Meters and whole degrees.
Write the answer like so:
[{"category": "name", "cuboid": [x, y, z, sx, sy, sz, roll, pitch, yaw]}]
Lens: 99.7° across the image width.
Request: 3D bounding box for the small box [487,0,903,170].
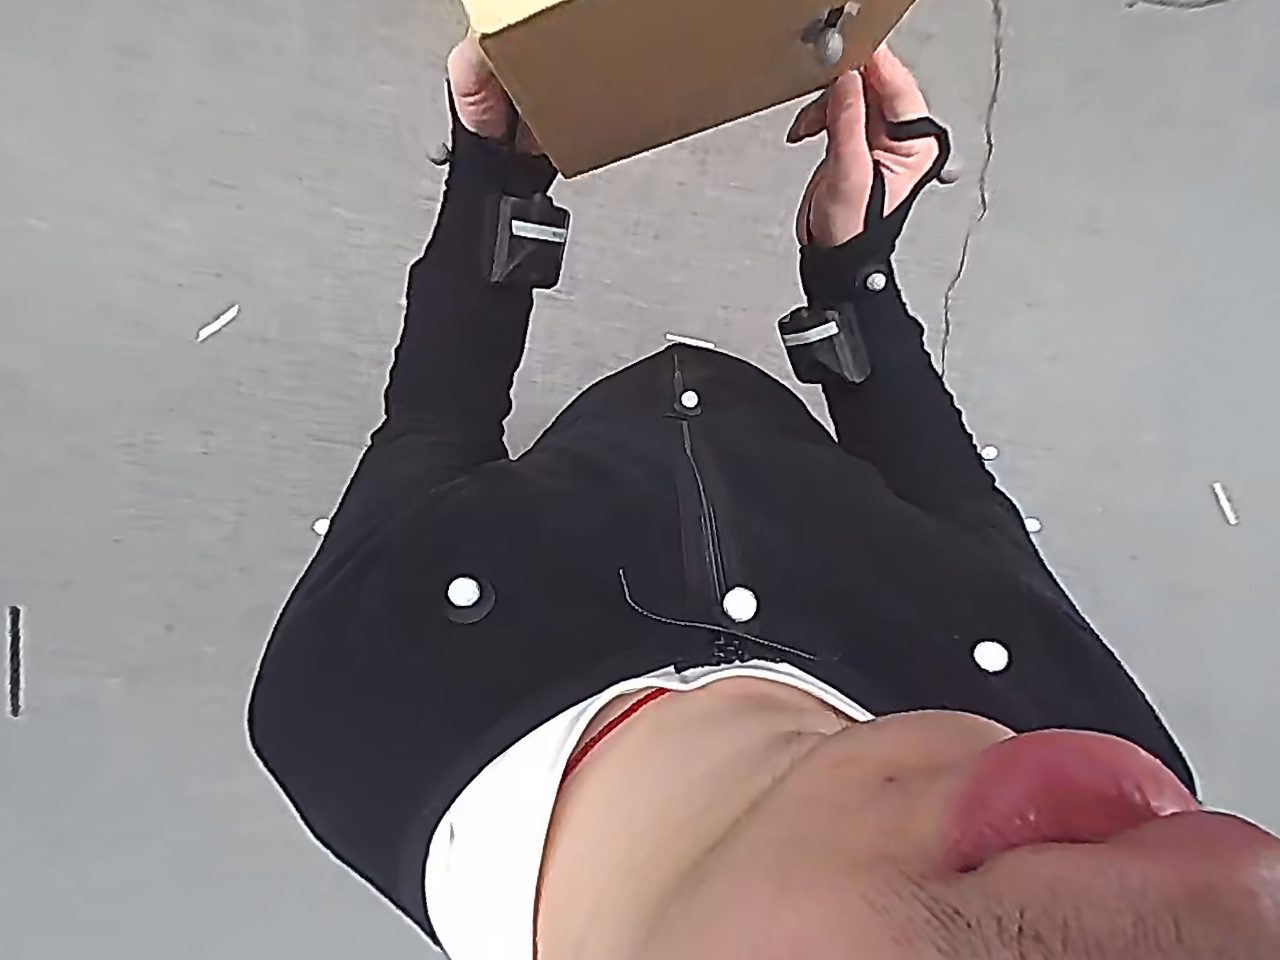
[{"category": "small box", "cuboid": [0.016, -0.261, 0.224, 0.179, 0.176, 0.168, -17, 104, 7]}]
